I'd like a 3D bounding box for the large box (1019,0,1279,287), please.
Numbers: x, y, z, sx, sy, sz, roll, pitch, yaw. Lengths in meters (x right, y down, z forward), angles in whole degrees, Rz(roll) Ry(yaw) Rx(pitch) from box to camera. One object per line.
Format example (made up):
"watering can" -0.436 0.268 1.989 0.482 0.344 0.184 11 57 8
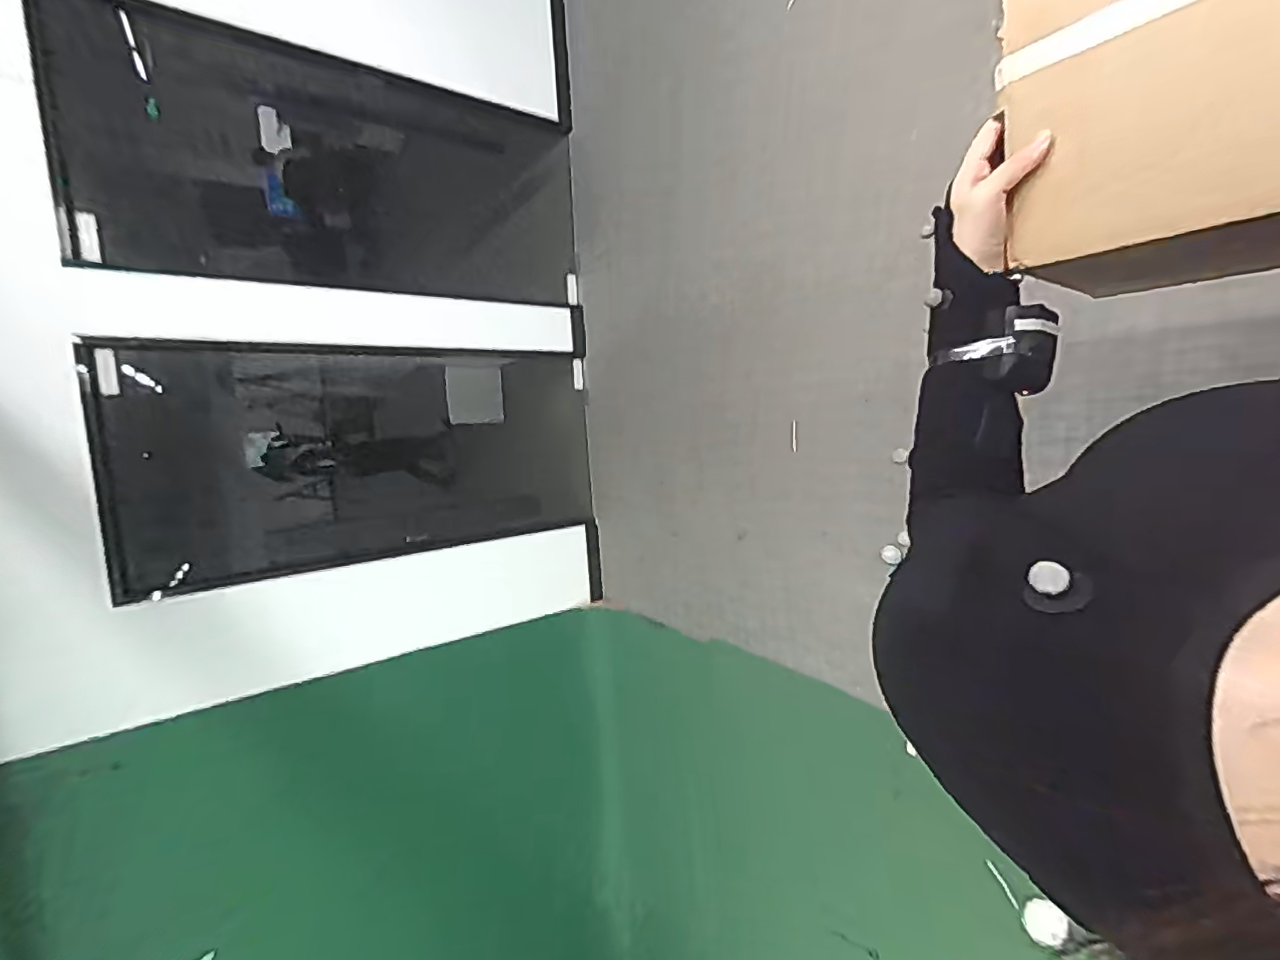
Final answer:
"large box" 0.543 -0.354 0.380 0.408 0.320 0.320 3 100 49
